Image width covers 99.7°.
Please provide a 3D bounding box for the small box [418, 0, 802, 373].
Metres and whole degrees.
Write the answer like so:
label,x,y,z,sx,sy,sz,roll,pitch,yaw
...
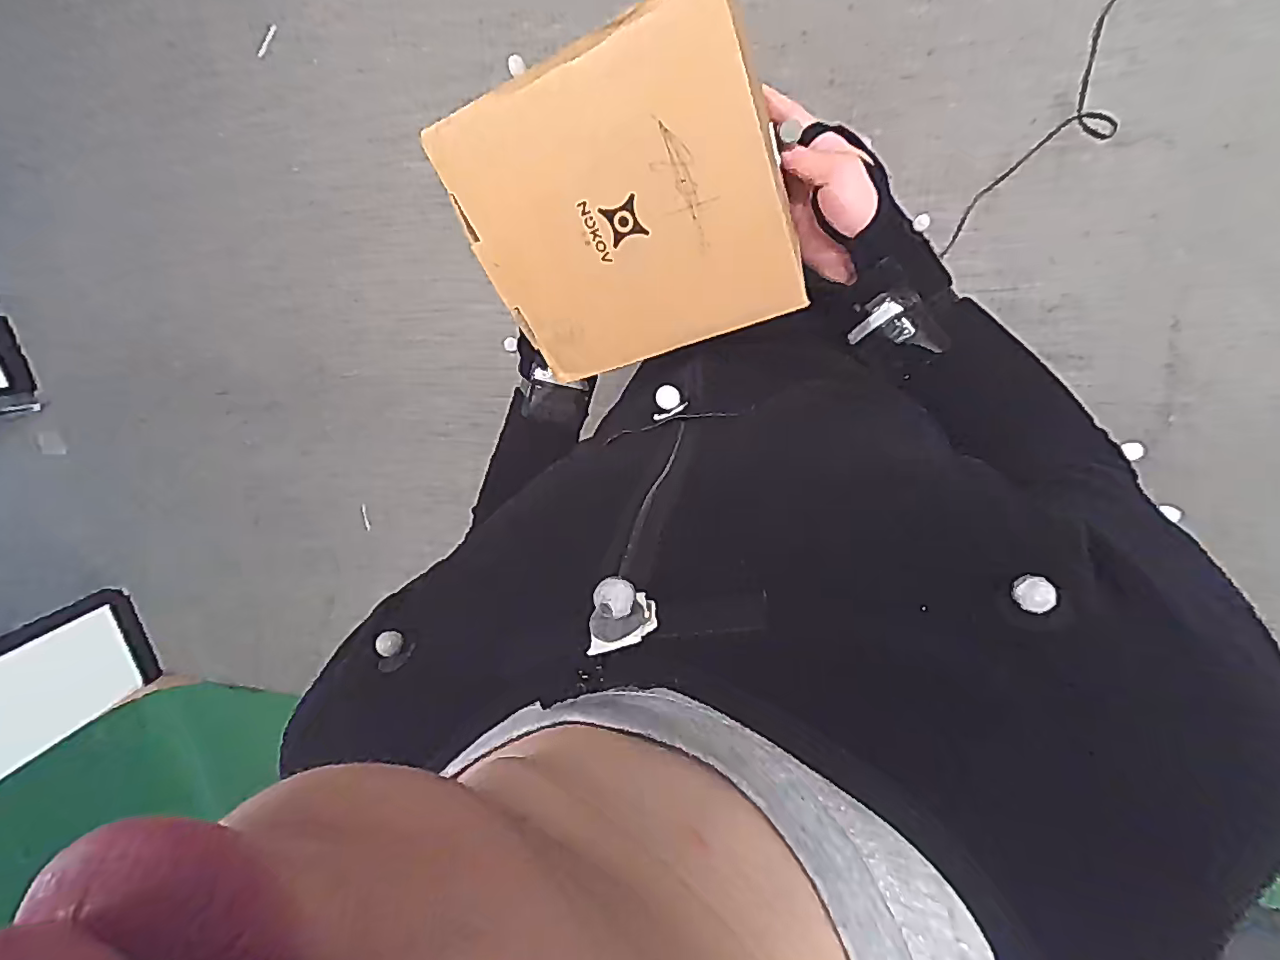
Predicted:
label,x,y,z,sx,sy,sz,roll,pitch,yaw
small box,0.001,-0.202,0.362,0.179,0.176,0.168,-14,126,23
